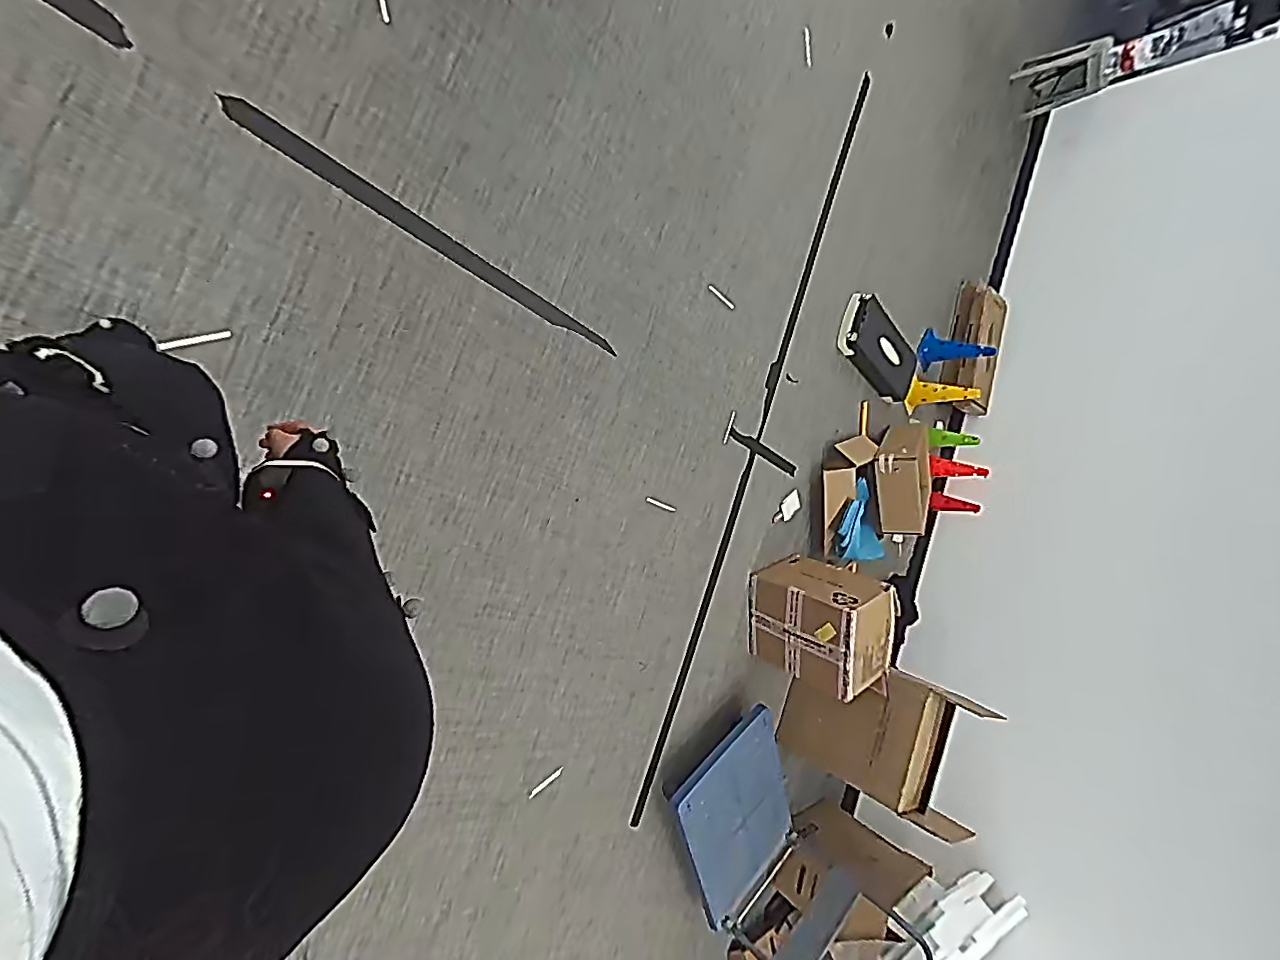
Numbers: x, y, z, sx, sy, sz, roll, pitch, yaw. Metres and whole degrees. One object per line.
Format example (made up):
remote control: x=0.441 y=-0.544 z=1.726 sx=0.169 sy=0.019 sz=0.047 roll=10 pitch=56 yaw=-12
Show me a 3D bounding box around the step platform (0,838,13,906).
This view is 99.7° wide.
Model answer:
step platform: x=-1.346 y=0.693 z=0.692 sx=0.684 sy=0.204 sz=0.286 roll=24 pitch=83 yaw=-43
